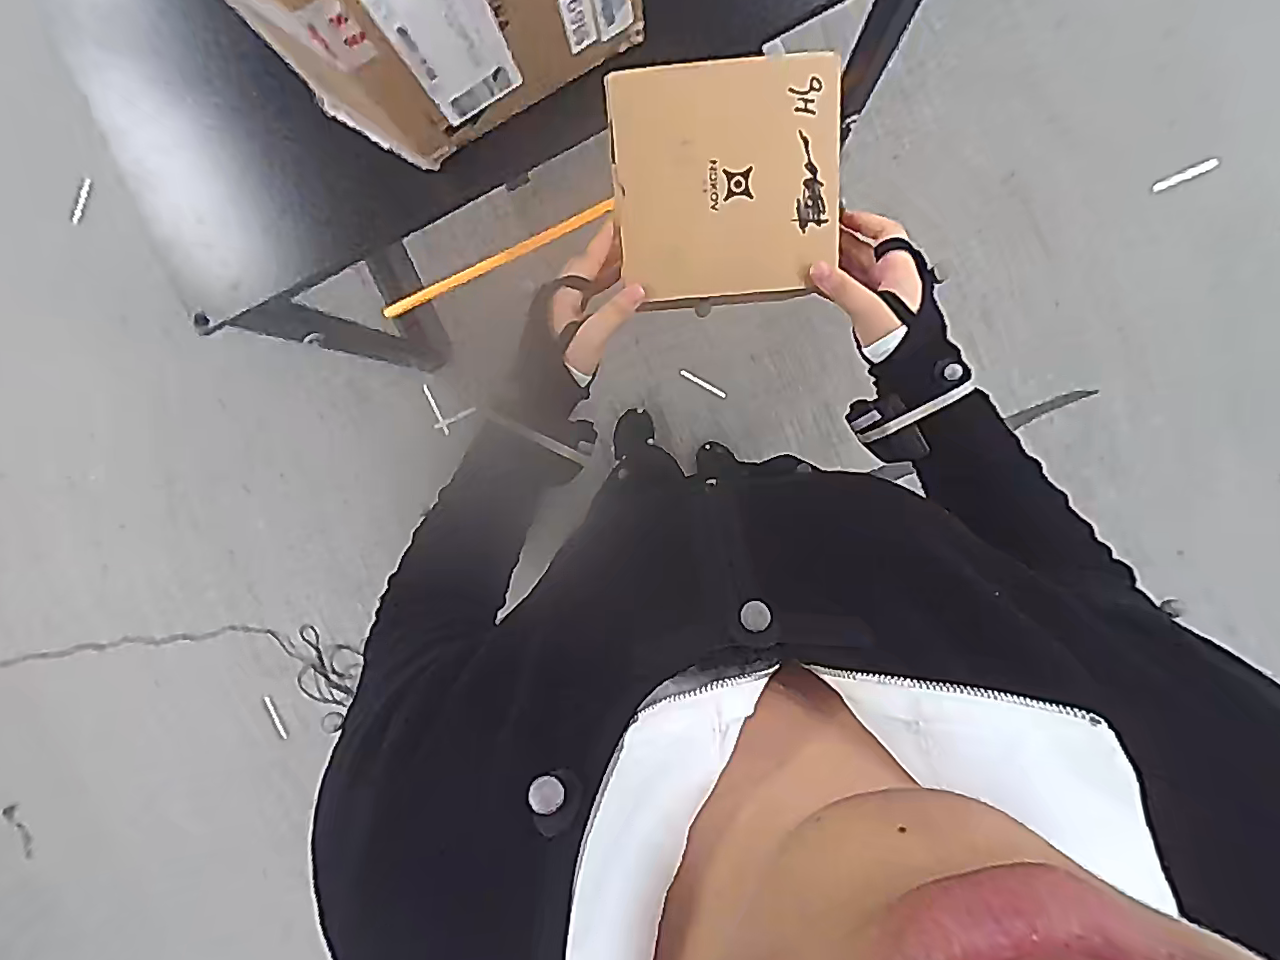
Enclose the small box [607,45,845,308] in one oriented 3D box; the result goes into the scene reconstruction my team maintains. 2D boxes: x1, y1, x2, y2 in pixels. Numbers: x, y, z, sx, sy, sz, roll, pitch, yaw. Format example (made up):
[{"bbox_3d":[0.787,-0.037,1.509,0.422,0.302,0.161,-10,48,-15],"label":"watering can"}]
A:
[{"bbox_3d":[0.069,-0.251,0.491,0.179,0.176,0.168,-3,104,2],"label":"small box"}]
